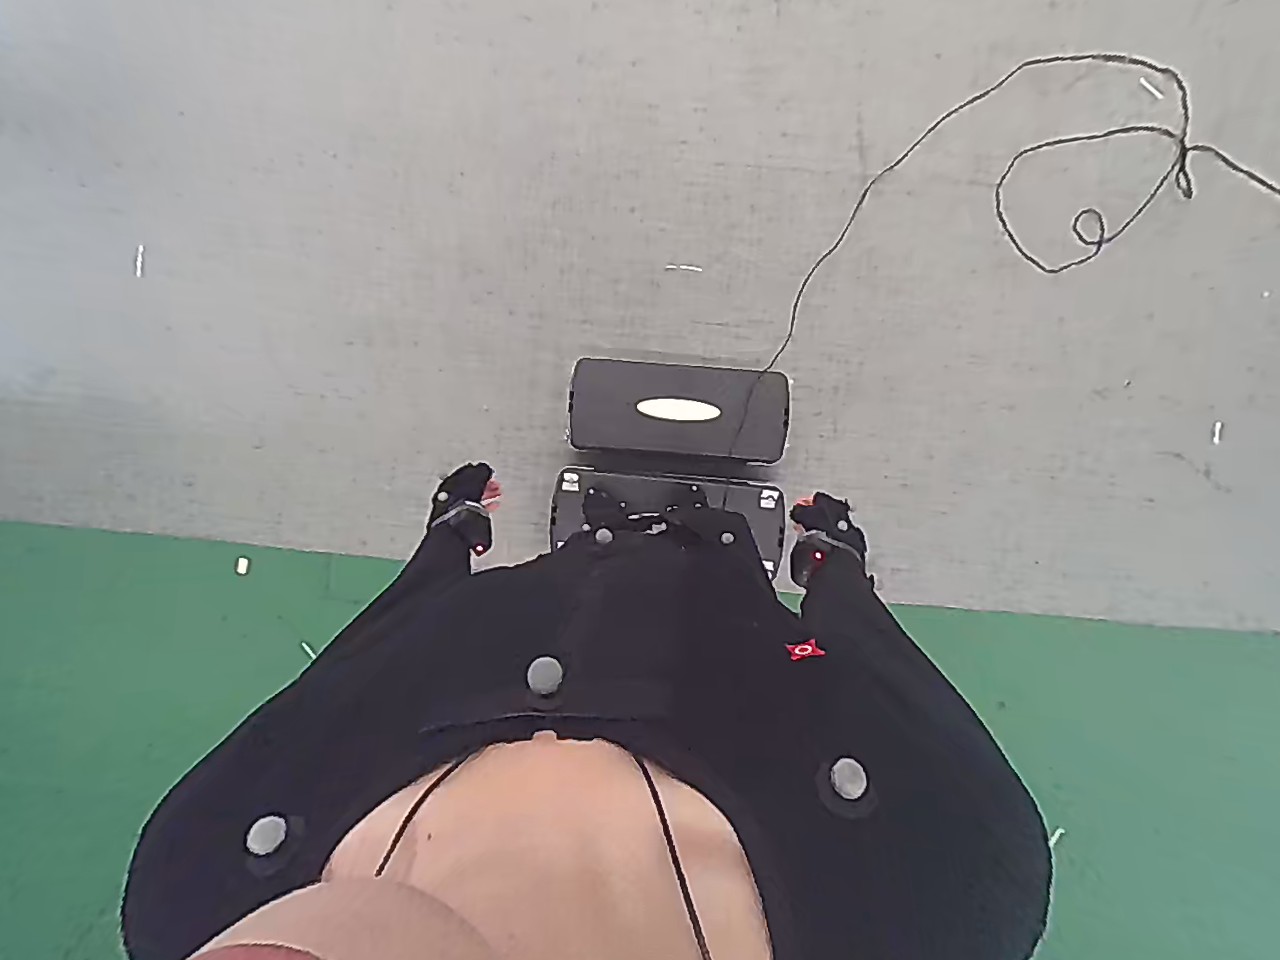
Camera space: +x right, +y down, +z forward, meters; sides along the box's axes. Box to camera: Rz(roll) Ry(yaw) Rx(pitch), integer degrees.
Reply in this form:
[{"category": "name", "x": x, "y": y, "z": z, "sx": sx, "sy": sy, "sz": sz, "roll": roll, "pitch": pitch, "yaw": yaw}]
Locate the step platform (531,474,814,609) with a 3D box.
[{"category": "step platform", "x": 0.078, "y": 0.148, "z": 1.396, "sx": 0.684, "sy": 0.204, "sz": 0.286, "roll": 4, "pitch": 90, "yaw": 0}]
